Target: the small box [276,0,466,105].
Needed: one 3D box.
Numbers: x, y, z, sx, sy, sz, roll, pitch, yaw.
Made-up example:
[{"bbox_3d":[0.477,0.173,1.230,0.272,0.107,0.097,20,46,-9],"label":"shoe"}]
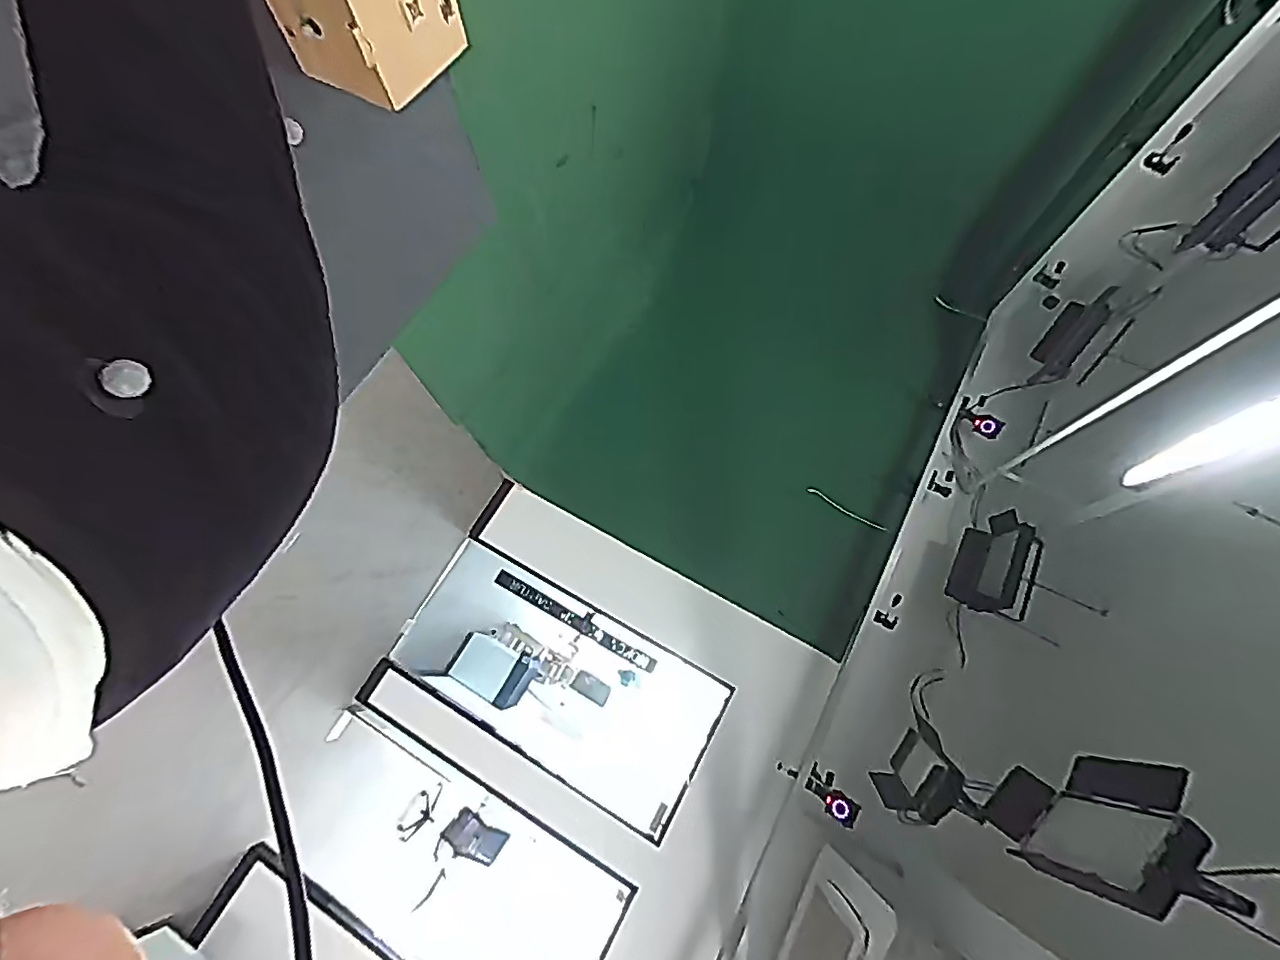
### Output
[{"bbox_3d":[-0.374,-0.657,0.724,0.179,0.176,0.168,-56,169,-20],"label":"small box"}]
